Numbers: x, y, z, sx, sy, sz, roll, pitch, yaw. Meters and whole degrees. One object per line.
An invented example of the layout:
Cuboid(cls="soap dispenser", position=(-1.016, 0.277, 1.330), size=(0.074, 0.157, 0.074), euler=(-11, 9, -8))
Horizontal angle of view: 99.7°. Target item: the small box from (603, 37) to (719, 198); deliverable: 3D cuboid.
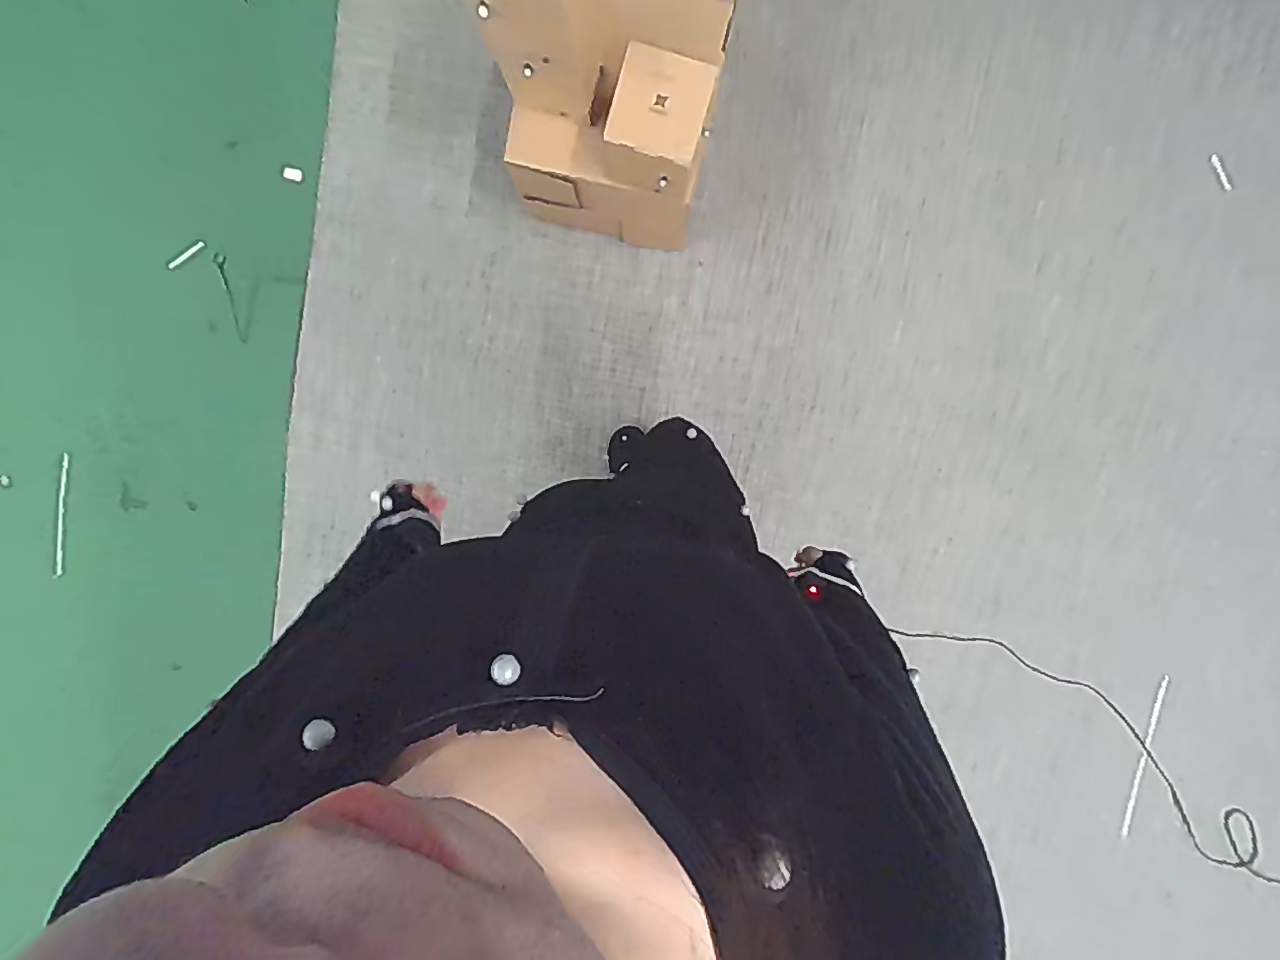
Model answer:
Cuboid(cls="small box", position=(0.038, -0.672, 1.027), size=(0.168, 0.176, 0.179), euler=(17, 95, -1))

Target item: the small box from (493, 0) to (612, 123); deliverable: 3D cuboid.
Cuboid(cls="small box", position=(-0.155, -0.828, 1.021), size=(0.168, 0.176, 0.179), euler=(17, 94, 1))
